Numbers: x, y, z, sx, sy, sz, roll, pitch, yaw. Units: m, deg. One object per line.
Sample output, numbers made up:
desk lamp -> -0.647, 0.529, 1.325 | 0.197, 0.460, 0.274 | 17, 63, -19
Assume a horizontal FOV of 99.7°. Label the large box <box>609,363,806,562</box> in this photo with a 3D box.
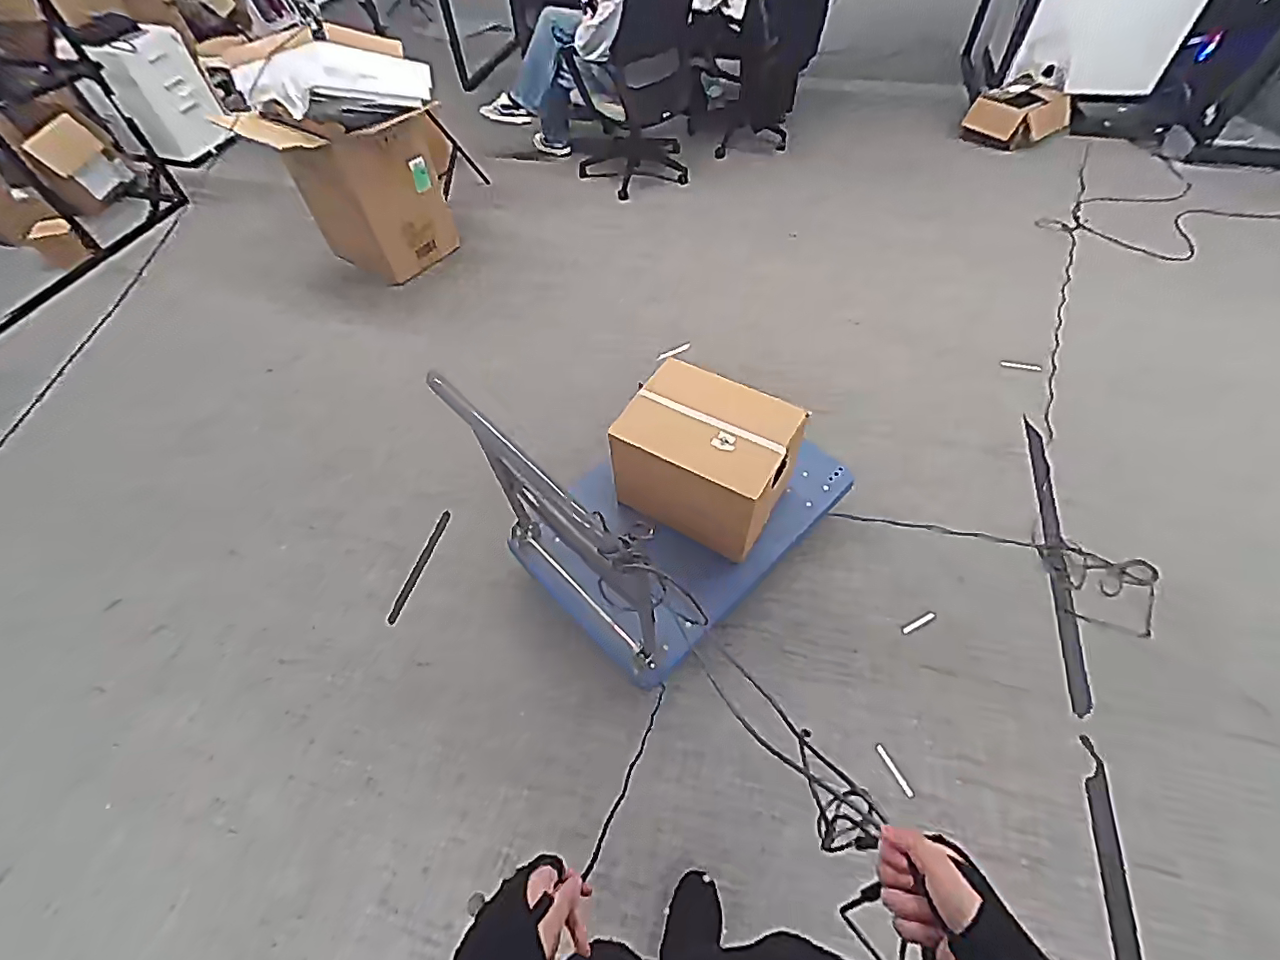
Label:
large box -> 0.169, -0.048, 1.447 | 0.408, 0.320, 0.320 | 26, 60, 19
